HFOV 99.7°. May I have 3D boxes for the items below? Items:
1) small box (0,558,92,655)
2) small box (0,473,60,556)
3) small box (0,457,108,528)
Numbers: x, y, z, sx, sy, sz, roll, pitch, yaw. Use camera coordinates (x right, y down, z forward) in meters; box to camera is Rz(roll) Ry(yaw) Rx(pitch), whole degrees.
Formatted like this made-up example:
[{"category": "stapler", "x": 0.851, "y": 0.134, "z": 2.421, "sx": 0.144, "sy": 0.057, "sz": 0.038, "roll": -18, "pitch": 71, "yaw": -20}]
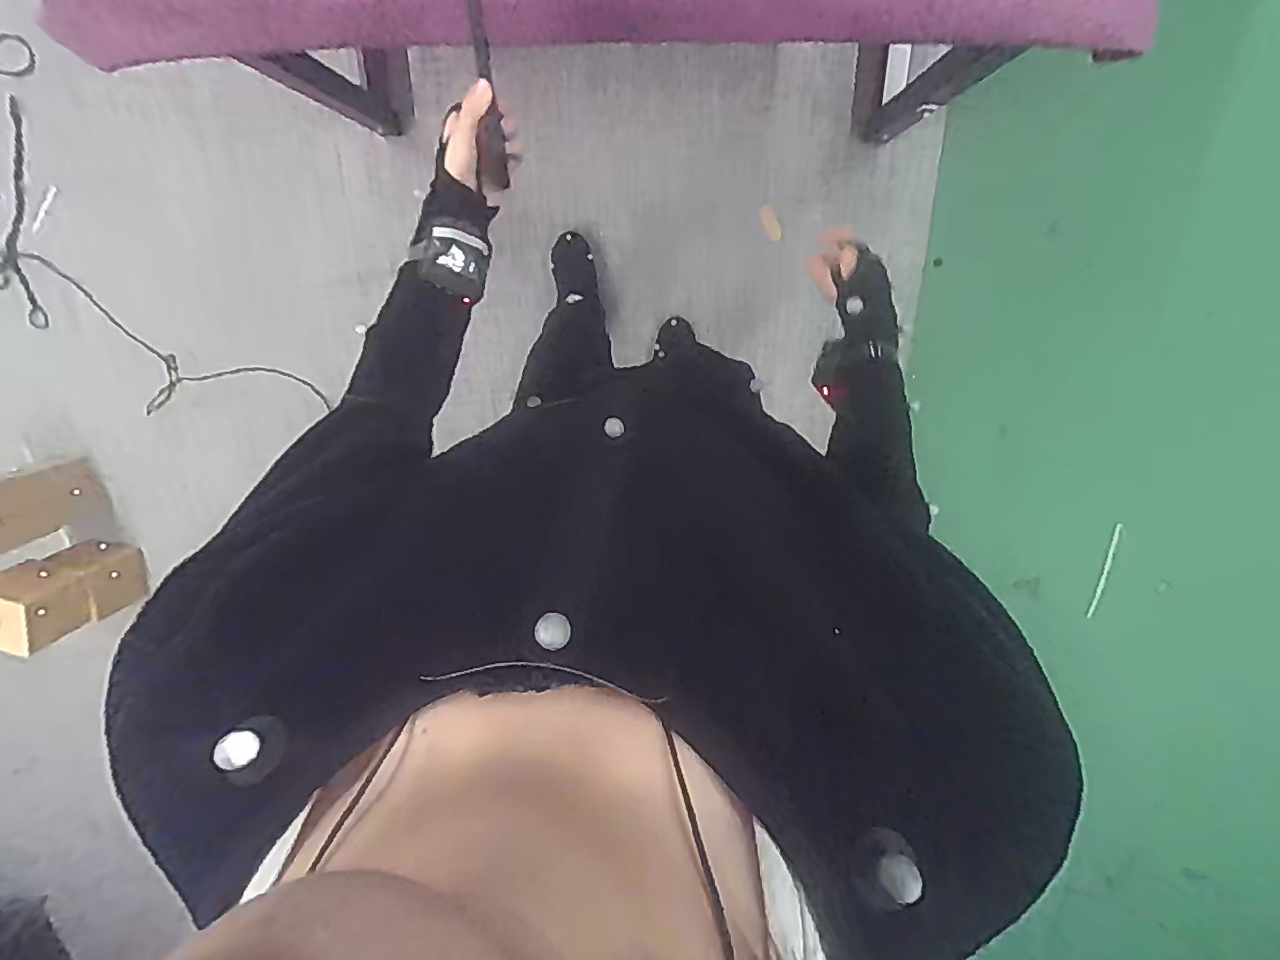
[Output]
[{"category": "small box", "x": -1.676, "y": 0.345, "z": 1.494, "sx": 0.168, "sy": 0.176, "sz": 0.179, "roll": 17, "pitch": 108, "yaw": -2}, {"category": "small box", "x": -1.695, "y": 0.100, "z": 1.404, "sx": 0.168, "sy": 0.176, "sz": 0.179, "roll": -11, "pitch": 109, "yaw": 6}, {"category": "small box", "x": -1.700, "y": 0.038, "z": 1.555, "sx": 0.179, "sy": 0.176, "sz": 0.168, "roll": -6, "pitch": 109, "yaw": 5}]
